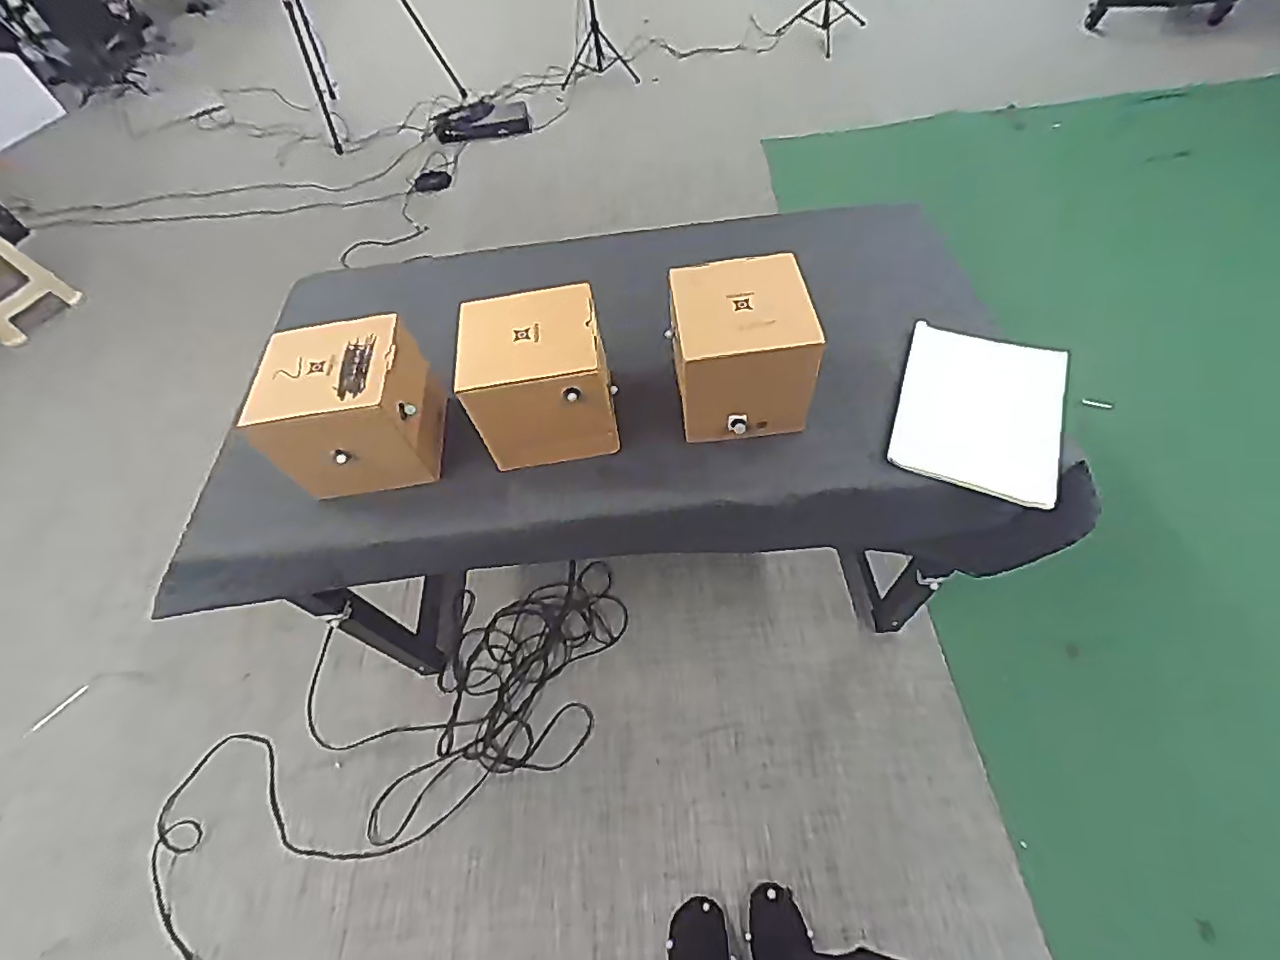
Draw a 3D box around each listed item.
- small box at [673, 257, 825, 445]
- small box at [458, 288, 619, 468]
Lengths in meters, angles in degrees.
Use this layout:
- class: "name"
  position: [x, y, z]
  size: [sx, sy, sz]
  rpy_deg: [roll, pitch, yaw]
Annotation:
- class: "small box"
  position: [0.137, -0.171, 0.739]
  size: [0.168, 0.176, 0.179]
  rpy_deg: [-8, 57, 3]
- class: "small box"
  position: [-0.132, -0.134, 0.747]
  size: [0.179, 0.176, 0.168]
  rpy_deg: [-9, 56, 0]
